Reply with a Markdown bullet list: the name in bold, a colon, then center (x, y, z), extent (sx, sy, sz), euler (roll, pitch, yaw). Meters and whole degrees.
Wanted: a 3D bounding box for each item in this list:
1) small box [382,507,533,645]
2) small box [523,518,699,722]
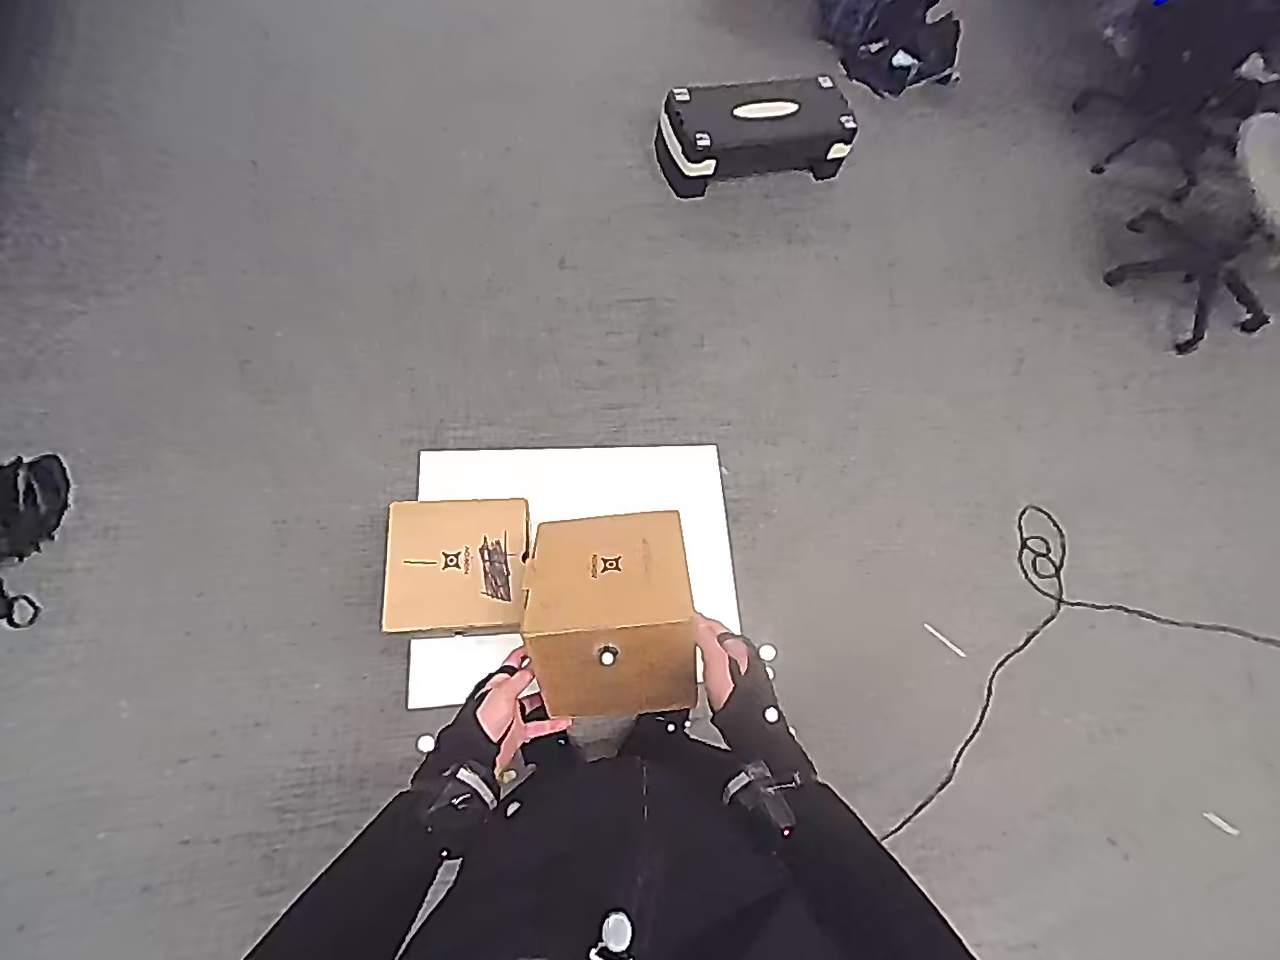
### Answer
- **small box**: center (-0.241, 0.140, 0.760), extent (0.179, 0.176, 0.168), euler (-1, 71, -9)
- **small box**: center (-0.027, 0.167, 0.641), extent (0.179, 0.176, 0.168), euler (-5, 37, 0)
